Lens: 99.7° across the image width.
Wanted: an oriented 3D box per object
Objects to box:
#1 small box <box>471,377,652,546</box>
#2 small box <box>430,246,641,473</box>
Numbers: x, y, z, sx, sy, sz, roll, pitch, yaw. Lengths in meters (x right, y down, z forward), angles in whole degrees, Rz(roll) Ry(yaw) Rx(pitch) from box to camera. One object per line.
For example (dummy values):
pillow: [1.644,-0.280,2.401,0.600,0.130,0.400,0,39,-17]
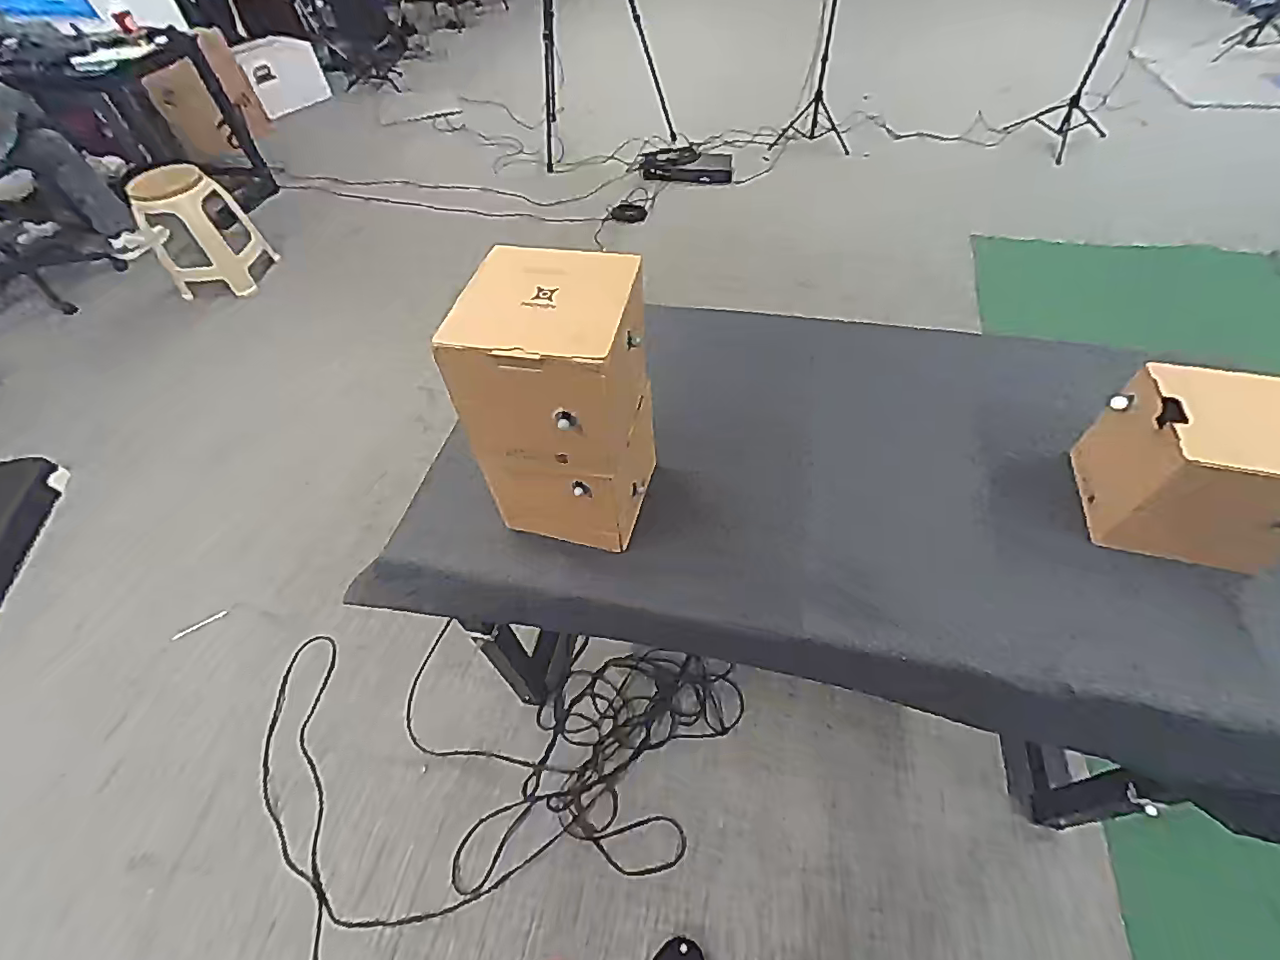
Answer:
small box: [-0.089,-0.033,0.719,0.179,0.176,0.168,11,53,12]
small box: [-0.093,-0.128,0.587,0.168,0.176,0.179,8,51,7]
